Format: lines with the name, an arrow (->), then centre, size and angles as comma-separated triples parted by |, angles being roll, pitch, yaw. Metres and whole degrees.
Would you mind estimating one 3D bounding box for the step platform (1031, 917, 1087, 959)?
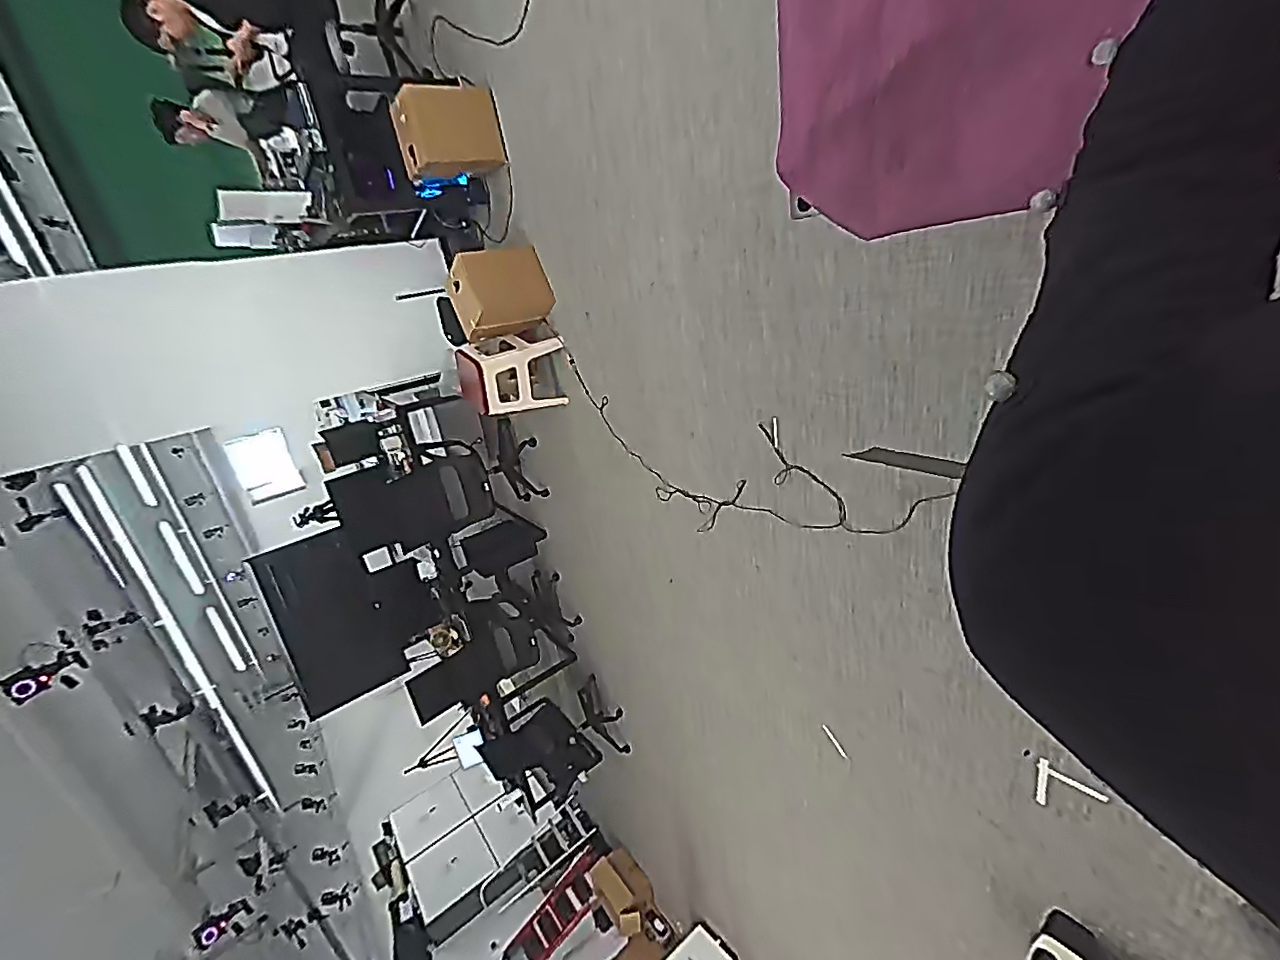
step platform -> 1.431, 1.572, 1.428 | 0.684, 0.204, 0.286 | 18, 126, 50
